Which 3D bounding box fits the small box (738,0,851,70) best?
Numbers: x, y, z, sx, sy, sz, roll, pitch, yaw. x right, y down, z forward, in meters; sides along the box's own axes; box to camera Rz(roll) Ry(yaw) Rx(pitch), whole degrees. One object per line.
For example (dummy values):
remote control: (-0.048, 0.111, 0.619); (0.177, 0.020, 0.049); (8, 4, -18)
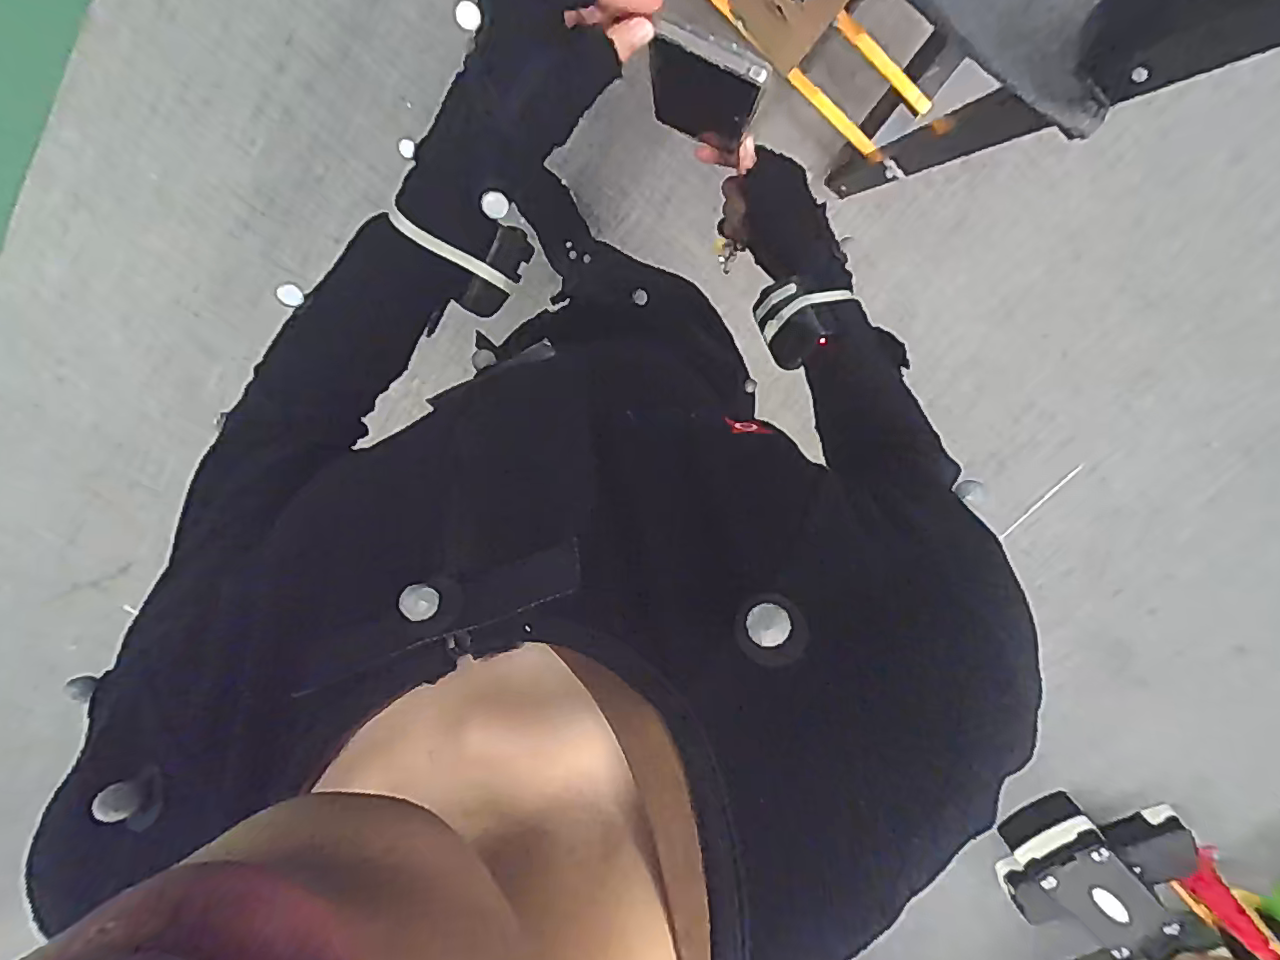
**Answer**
small box: (0.295, -0.894, 0.971); (0.168, 0.176, 0.179); (39, 106, -15)
